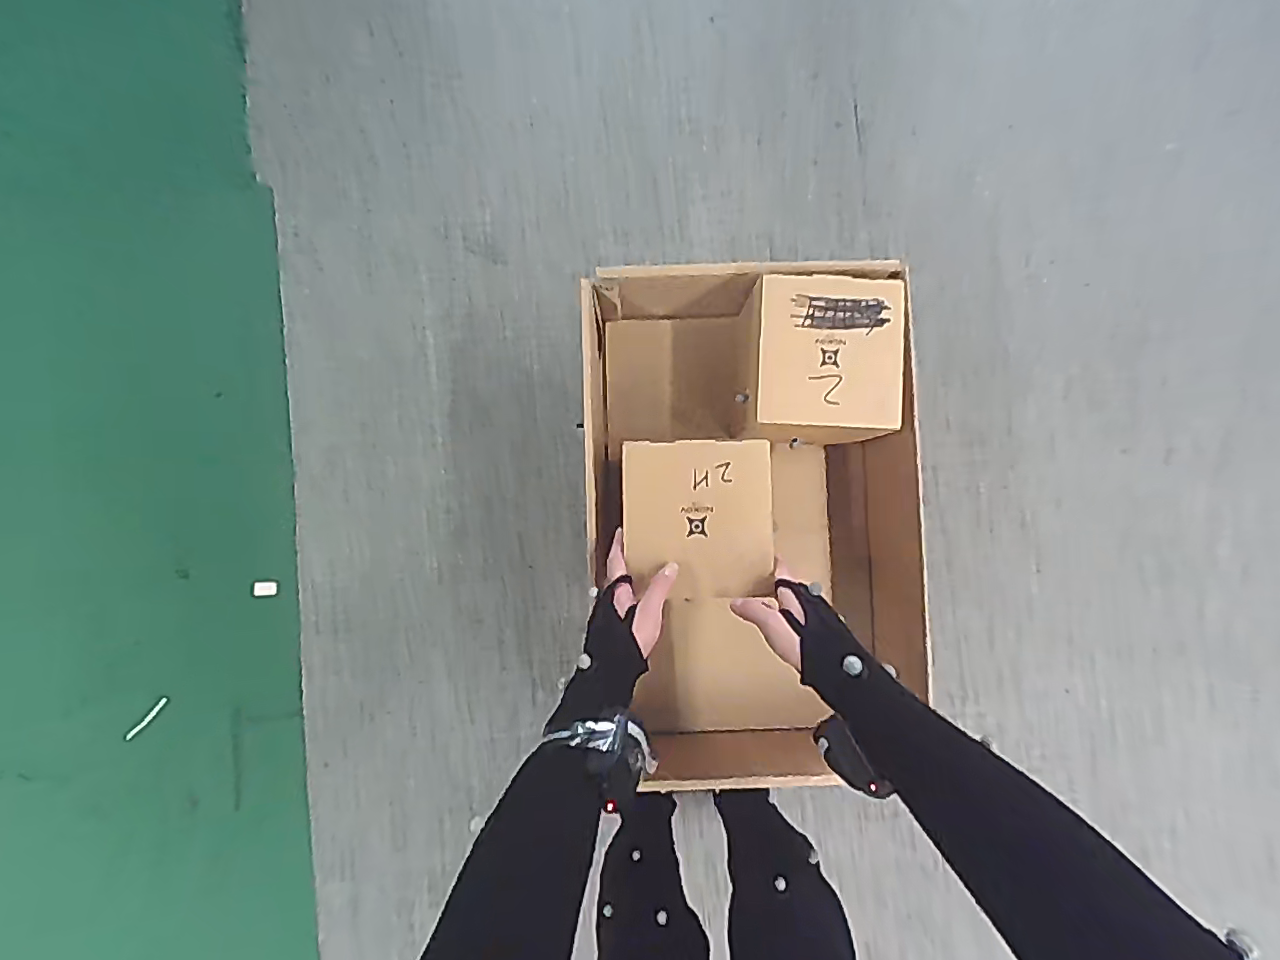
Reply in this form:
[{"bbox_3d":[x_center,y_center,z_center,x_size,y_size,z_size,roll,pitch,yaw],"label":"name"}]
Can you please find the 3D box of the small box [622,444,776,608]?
[{"bbox_3d":[0.067,0.054,0.661,0.168,0.176,0.179,0,85,1],"label":"small box"}]
